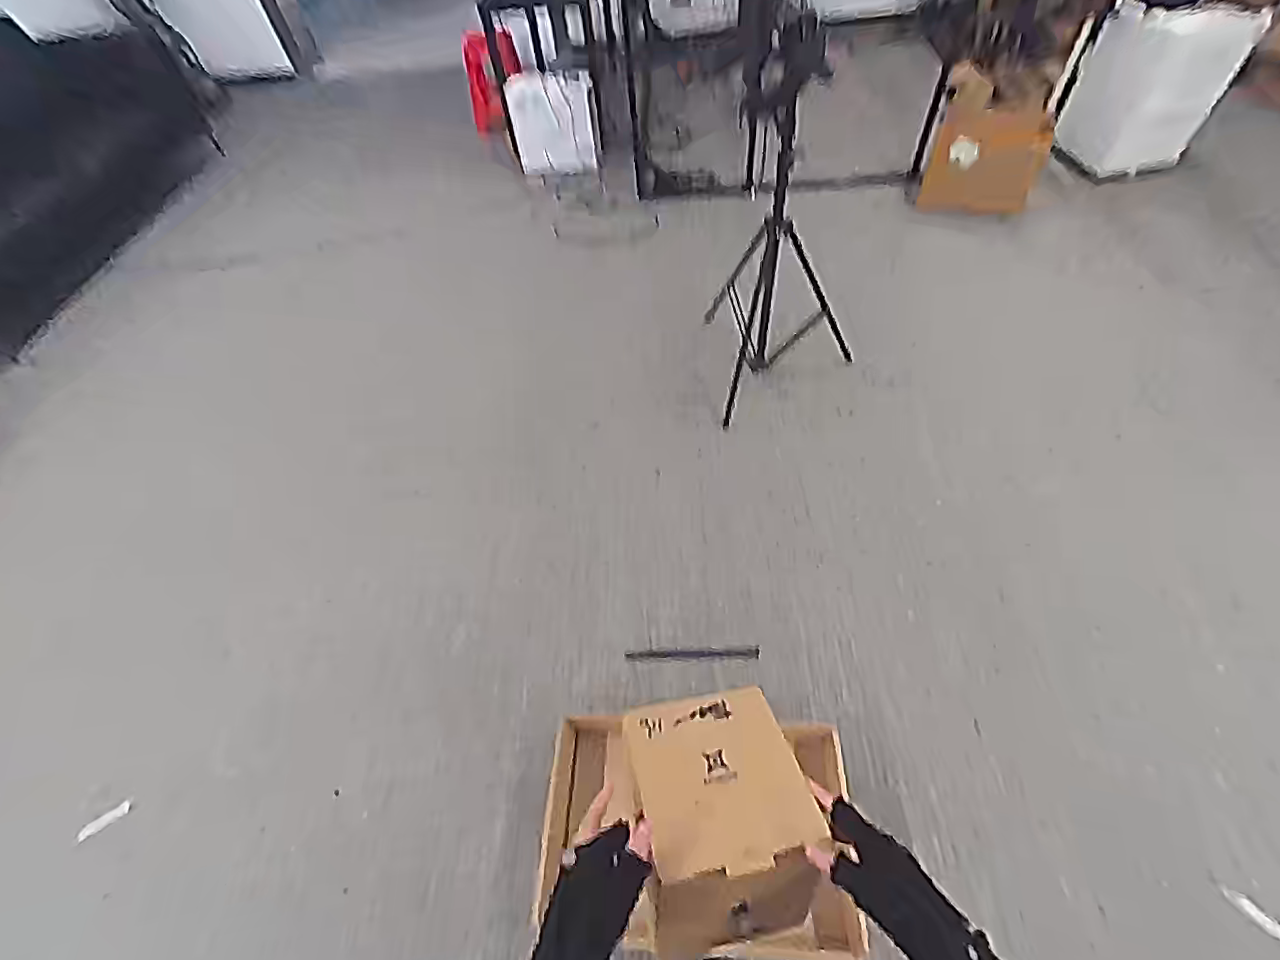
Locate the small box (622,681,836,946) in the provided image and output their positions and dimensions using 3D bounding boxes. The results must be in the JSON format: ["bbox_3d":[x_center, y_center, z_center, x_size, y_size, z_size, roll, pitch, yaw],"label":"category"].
[{"bbox_3d":[0.078,0.350,0.571,0.168,0.176,0.179,-6,33,-11],"label":"small box"}]
